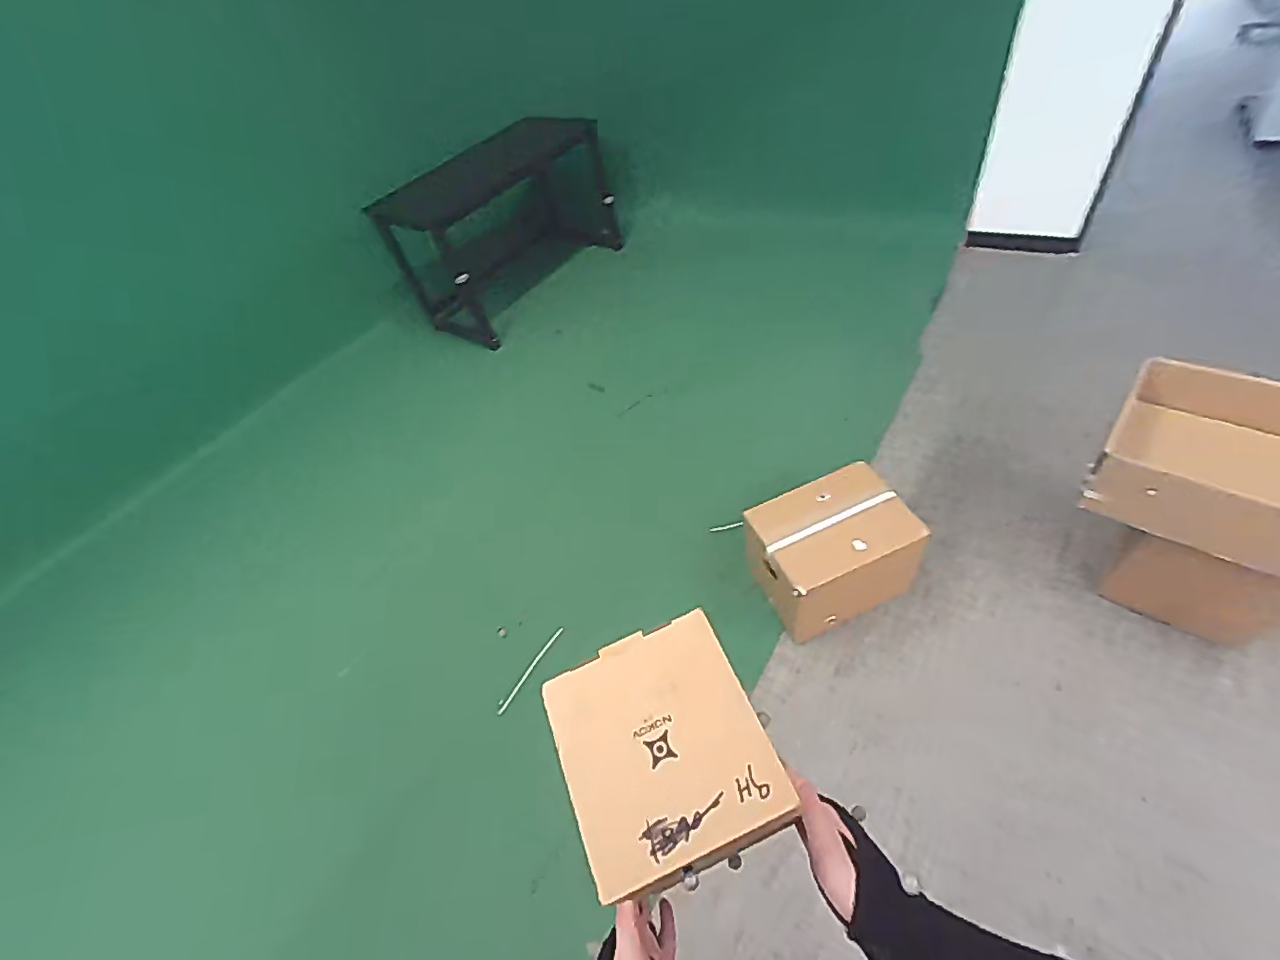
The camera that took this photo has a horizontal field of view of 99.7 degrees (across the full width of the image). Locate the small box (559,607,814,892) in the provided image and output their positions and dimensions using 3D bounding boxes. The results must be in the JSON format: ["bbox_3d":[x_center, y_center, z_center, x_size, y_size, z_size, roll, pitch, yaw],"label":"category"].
[{"bbox_3d":[0.043,0.255,0.511,0.168,0.176,0.179,-24,53,-2],"label":"small box"}]
